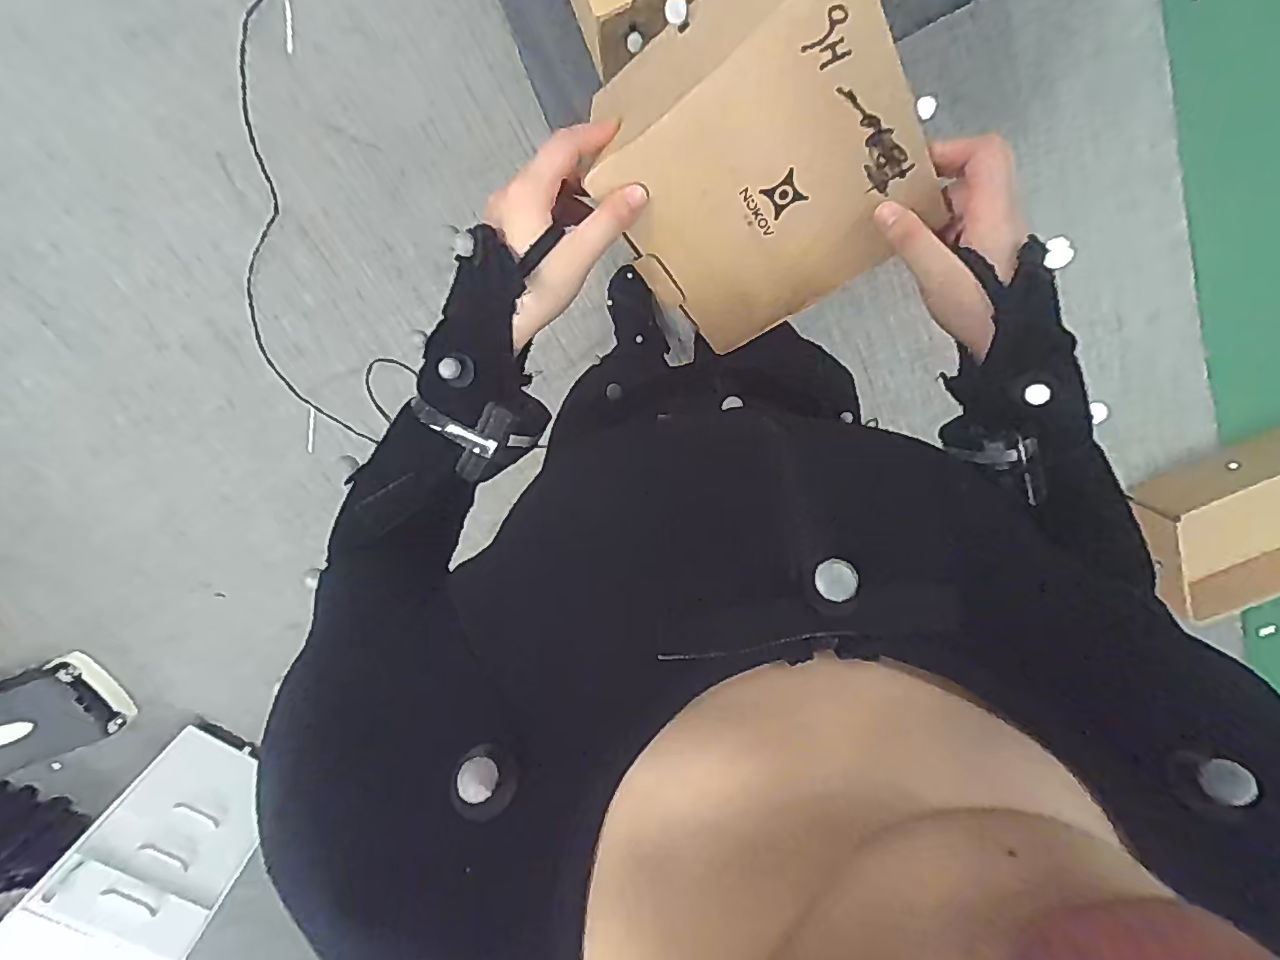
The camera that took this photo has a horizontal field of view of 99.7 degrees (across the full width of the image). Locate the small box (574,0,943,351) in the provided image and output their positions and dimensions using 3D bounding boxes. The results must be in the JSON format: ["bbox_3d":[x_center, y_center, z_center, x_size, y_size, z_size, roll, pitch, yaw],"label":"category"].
[{"bbox_3d":[0.078,-0.234,0.385,0.179,0.176,0.168,-26,133,28],"label":"small box"}]
